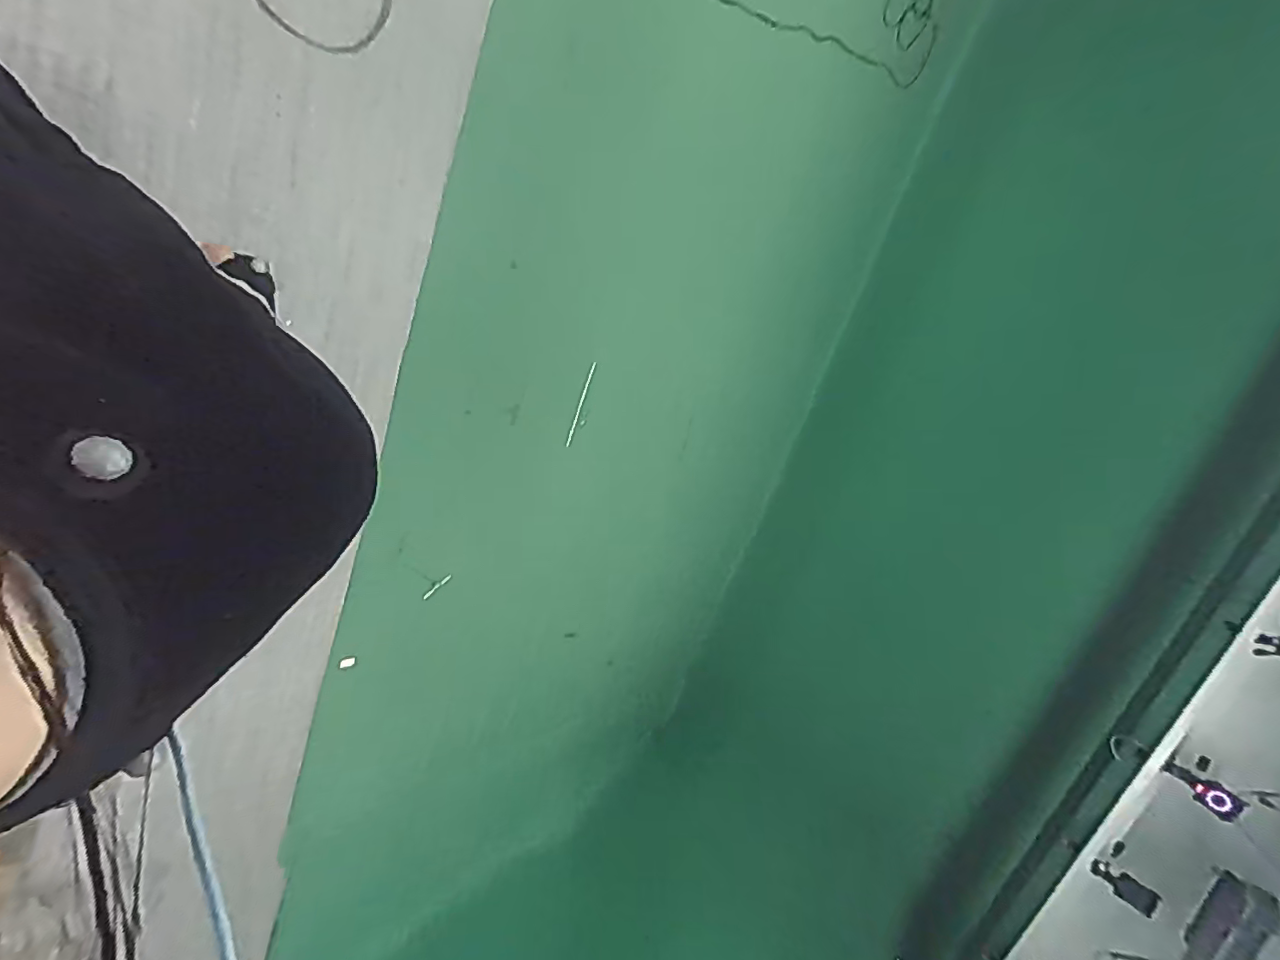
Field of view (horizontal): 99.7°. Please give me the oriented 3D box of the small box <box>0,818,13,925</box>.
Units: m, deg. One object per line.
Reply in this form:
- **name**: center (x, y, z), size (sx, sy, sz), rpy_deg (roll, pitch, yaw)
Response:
- **small box**: center (-1.536, 0.909, 1.201), size (0.179, 0.176, 0.168), rpy_deg (-5, 118, -53)
